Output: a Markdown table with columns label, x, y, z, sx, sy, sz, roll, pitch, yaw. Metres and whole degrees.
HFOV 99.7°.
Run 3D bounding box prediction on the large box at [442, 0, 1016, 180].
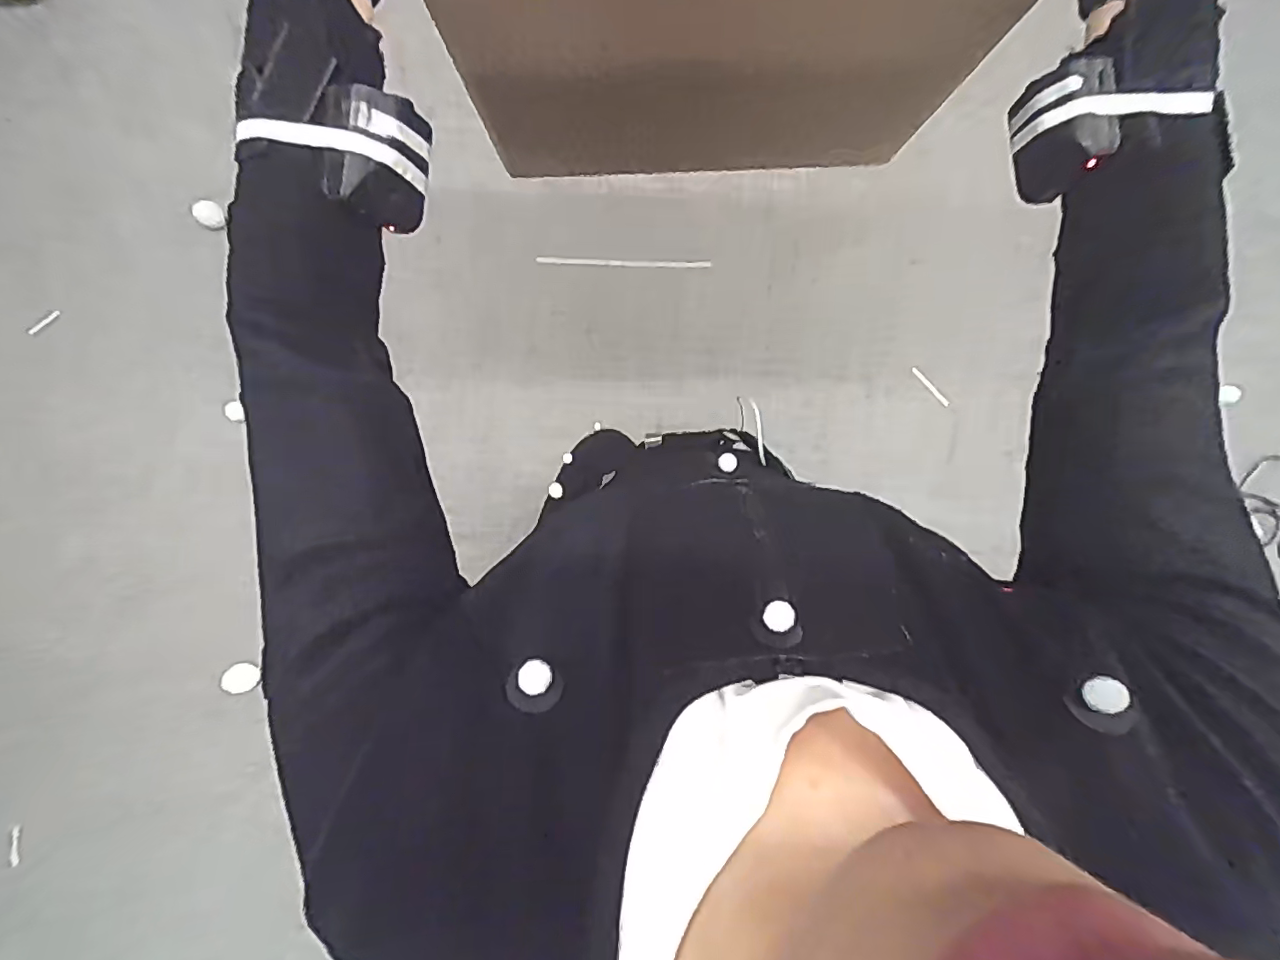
| label | x | y | z | sx | sy | sz | roll | pitch | yaw |
| --- | --- | --- | --- | --- | --- | --- | --- | --- | --- |
| large box | 0.055 | -0.470 | 0.419 | 0.408 | 0.320 | 0.320 | -3 | 94 | -2 |
